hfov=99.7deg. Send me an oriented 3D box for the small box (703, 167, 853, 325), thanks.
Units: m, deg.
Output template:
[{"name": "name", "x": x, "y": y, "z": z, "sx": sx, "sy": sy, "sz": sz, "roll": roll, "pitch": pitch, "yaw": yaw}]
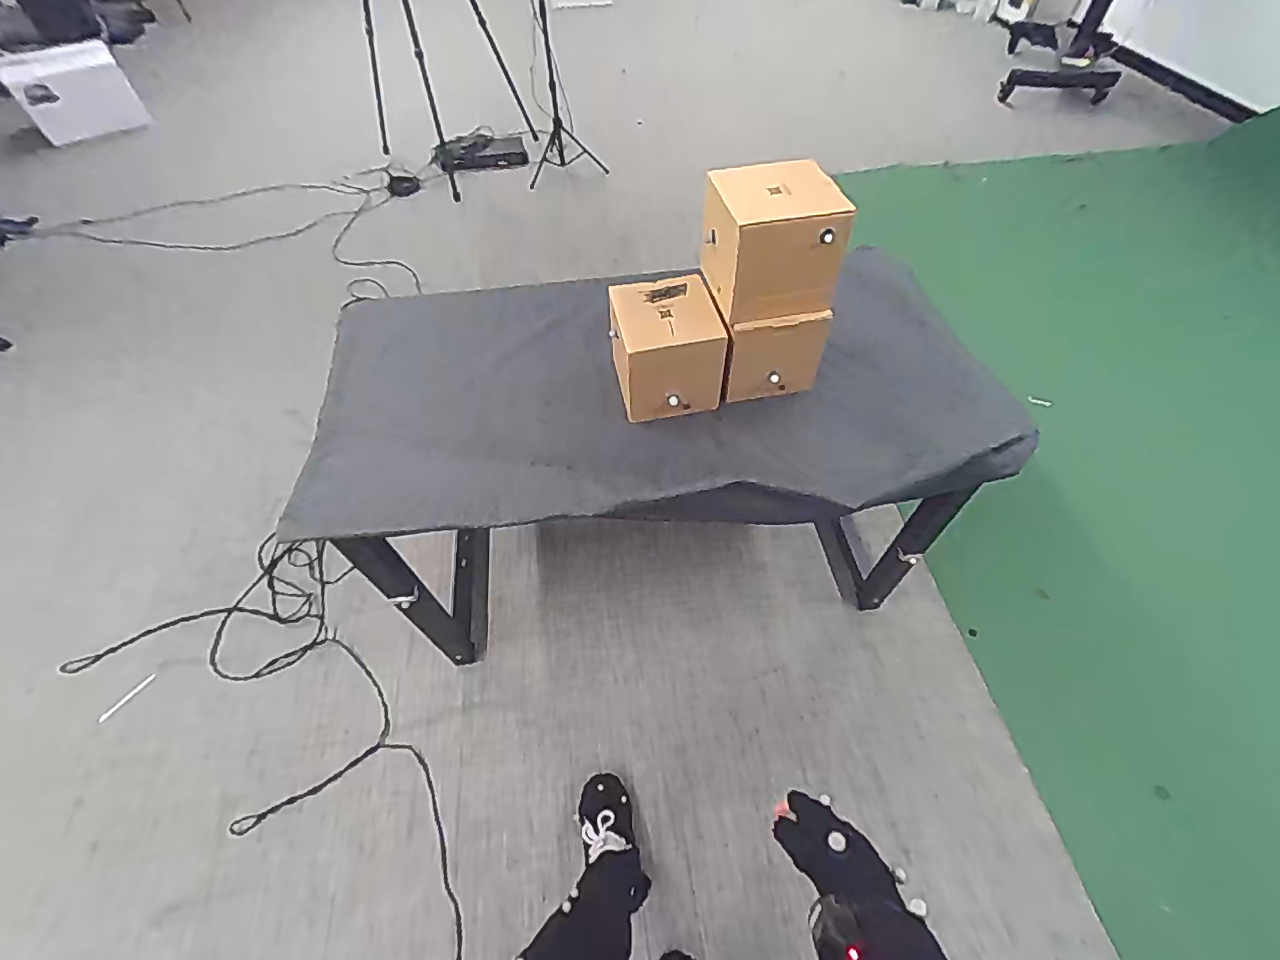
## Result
[{"name": "small box", "x": 0.202, "y": -0.366, "z": 0.859, "sx": 0.179, "sy": 0.176, "sz": 0.168, "roll": -10, "pitch": 54, "yaw": -6}]
